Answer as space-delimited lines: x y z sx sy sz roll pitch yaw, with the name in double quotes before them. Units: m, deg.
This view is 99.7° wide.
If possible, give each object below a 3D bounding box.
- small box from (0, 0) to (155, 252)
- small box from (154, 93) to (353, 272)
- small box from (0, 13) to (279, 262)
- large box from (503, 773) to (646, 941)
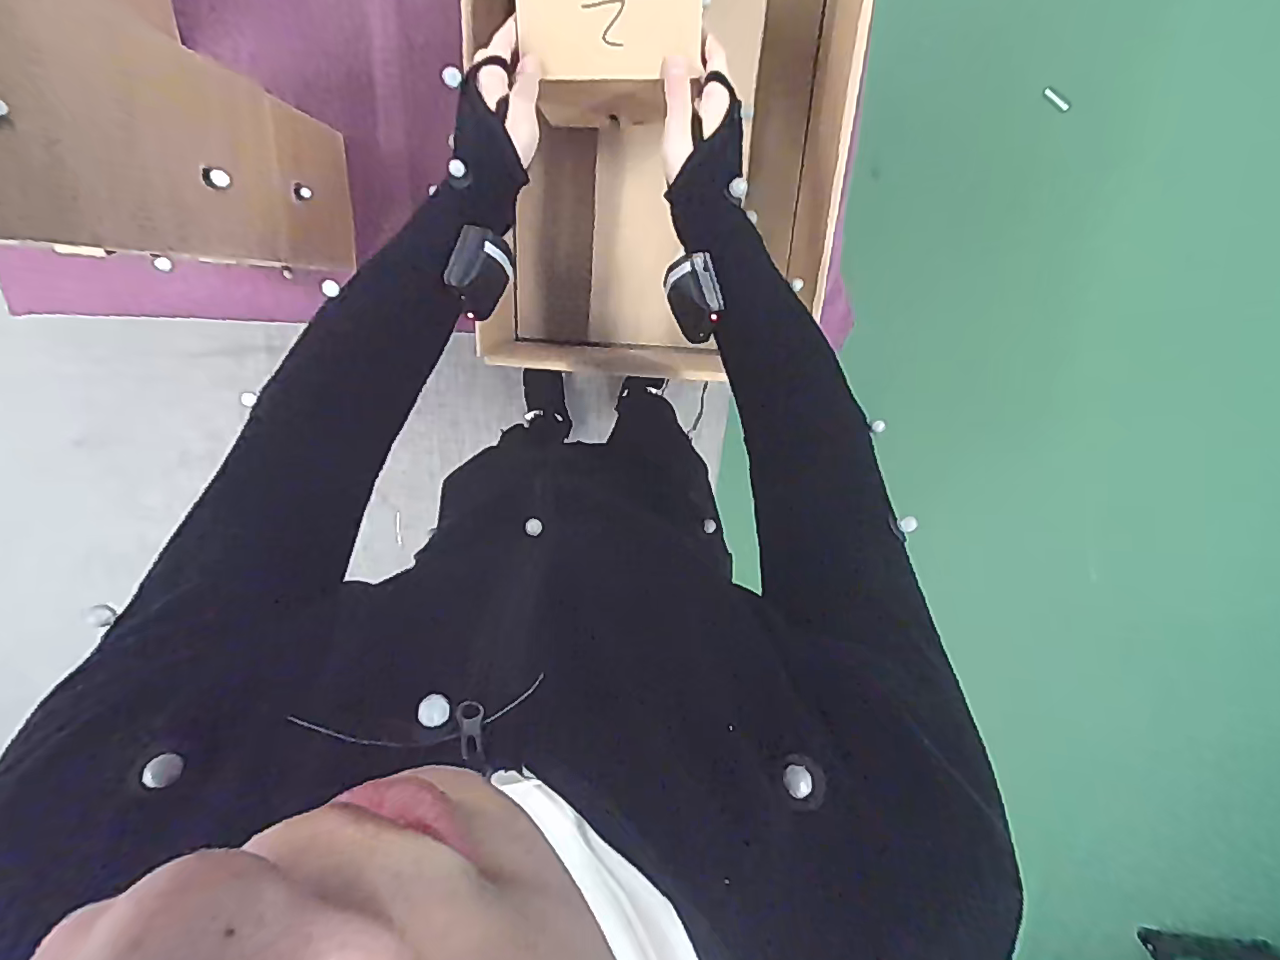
"small box" -0.482 -0.257 0.363 0.168 0.176 0.179 5 108 -2
"small box" -0.483 -0.360 0.676 0.168 0.176 0.179 4 108 -1
"small box" -0.484 -0.310 0.520 0.168 0.176 0.179 3 109 -1
"large box" -0.223 1.362 1.972 0.408 0.320 0.320 -27 107 9
